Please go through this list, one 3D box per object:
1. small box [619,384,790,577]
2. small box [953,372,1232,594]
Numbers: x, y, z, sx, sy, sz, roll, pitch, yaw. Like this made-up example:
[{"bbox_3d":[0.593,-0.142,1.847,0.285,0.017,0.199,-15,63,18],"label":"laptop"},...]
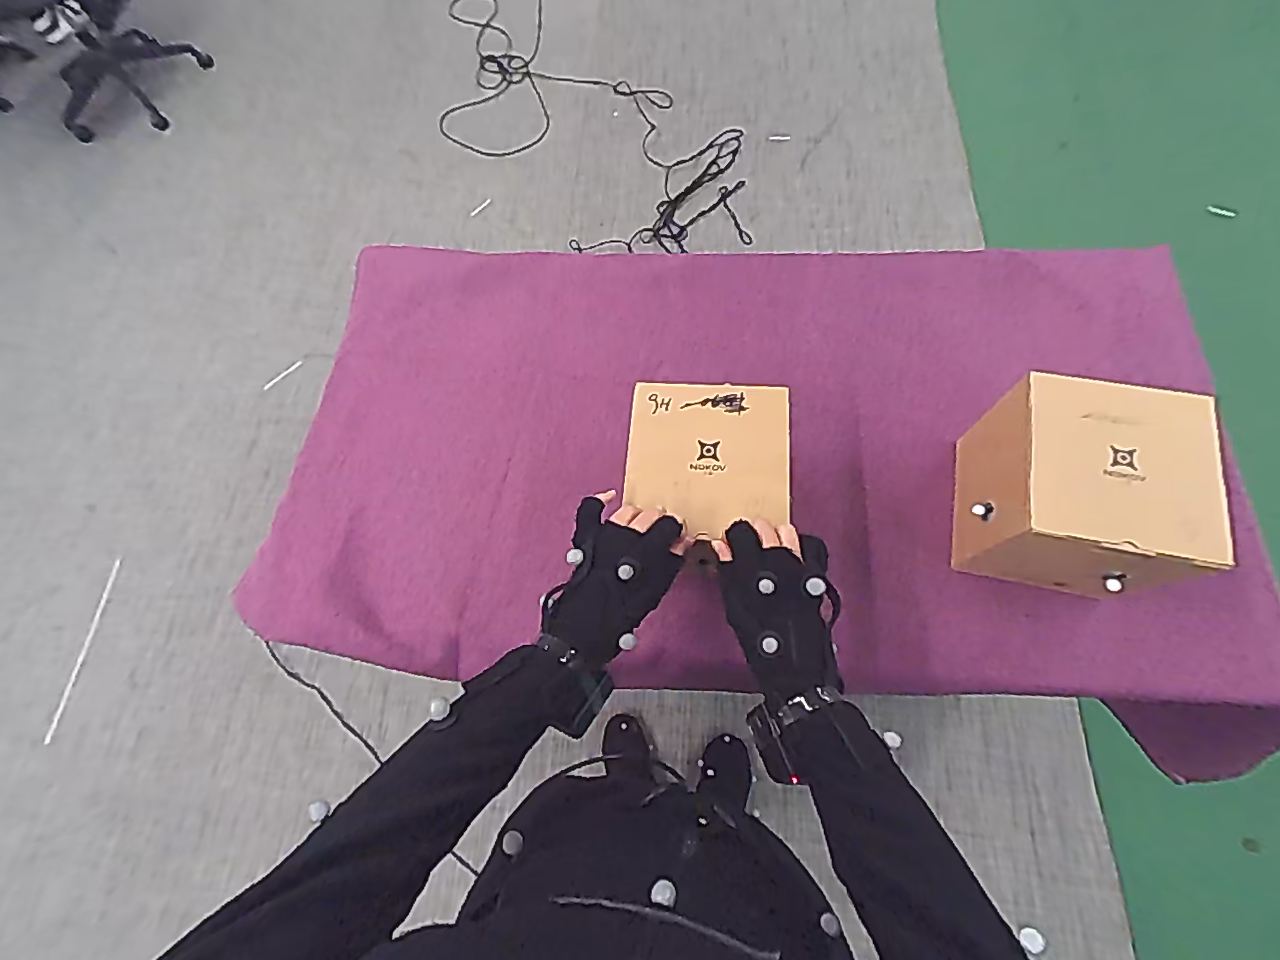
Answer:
[{"bbox_3d":[0.076,0.009,0.623,0.168,0.176,0.179,3,69,7],"label":"small box"},{"bbox_3d":[0.460,0.013,0.581,0.168,0.176,0.179,11,70,10],"label":"small box"}]
